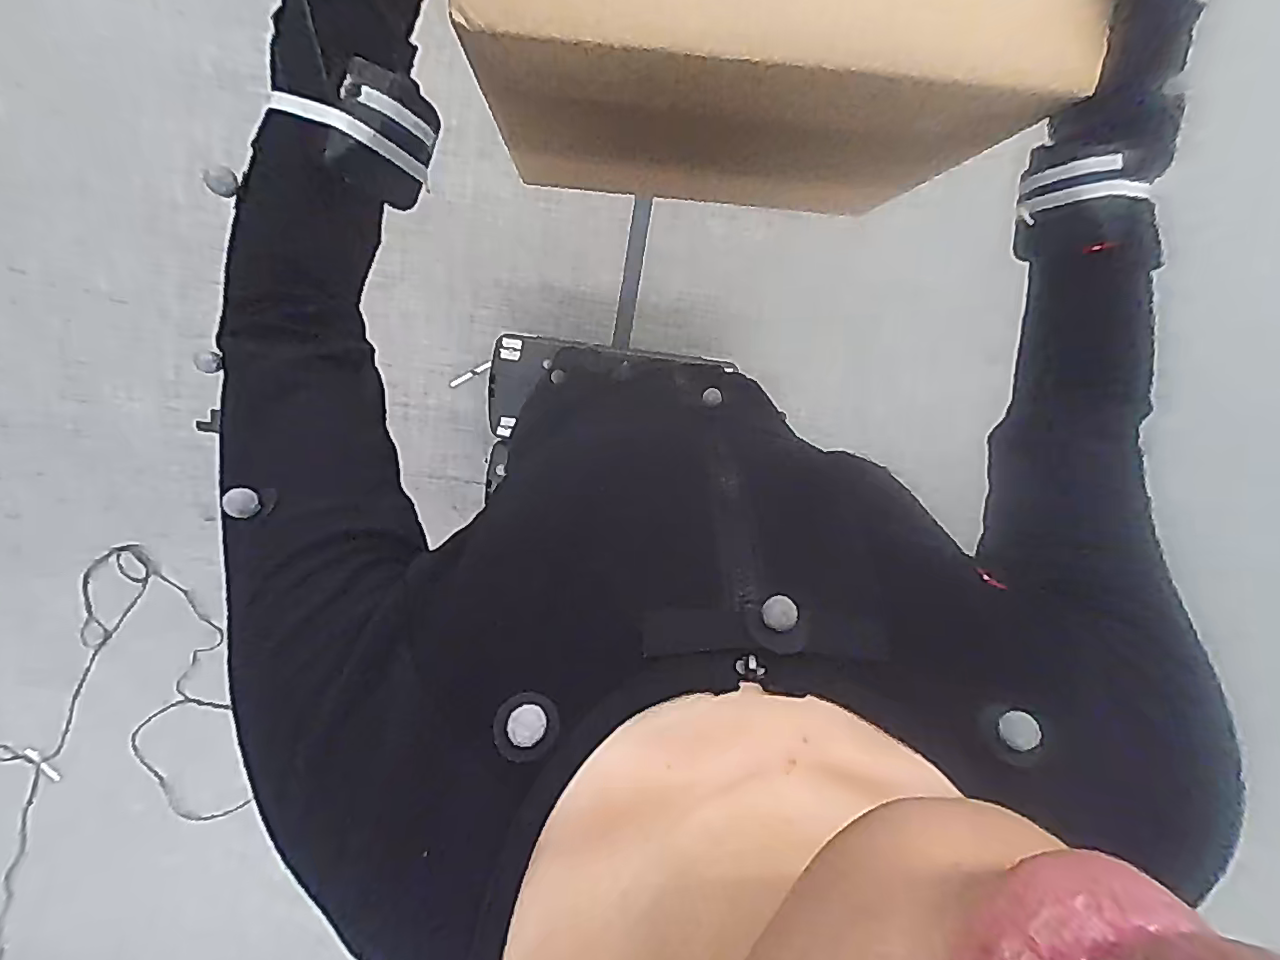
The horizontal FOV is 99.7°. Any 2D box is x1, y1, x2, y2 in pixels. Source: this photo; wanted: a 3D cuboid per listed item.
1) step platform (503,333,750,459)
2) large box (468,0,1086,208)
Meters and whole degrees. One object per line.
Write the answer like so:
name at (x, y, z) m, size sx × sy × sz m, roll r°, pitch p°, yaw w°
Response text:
step platform at (-0.039, -0.235, 1.534) m, size 0.684 × 0.204 × 0.286 m, roll 5°, pitch 101°, yaw -6°
large box at (0.084, -0.447, 0.457) m, size 0.408 × 0.320 × 0.320 m, roll 2°, pitch 103°, yaw -6°
